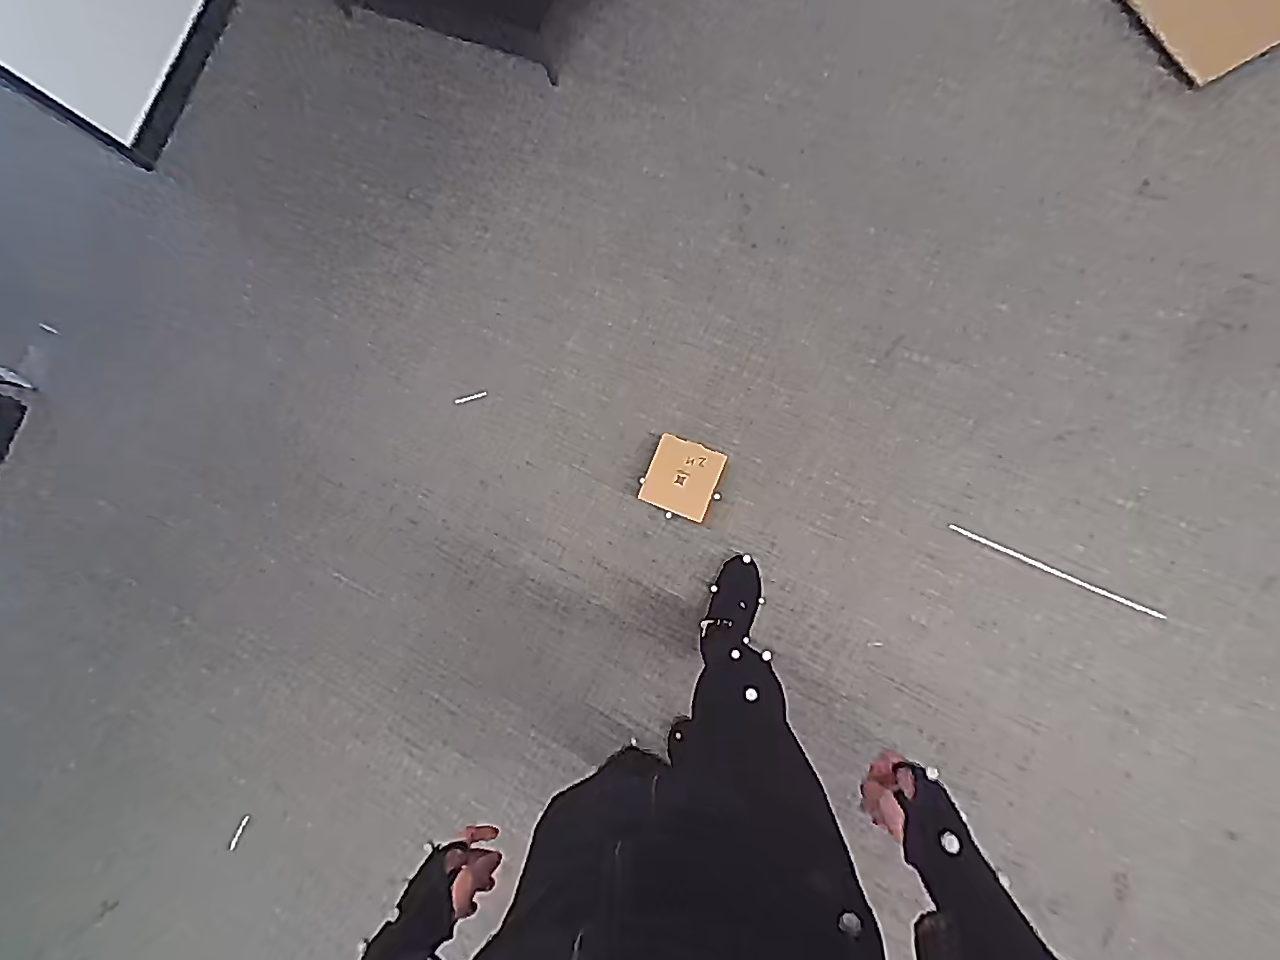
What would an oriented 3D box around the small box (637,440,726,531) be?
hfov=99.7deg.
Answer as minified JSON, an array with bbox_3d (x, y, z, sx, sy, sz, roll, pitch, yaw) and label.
[{"bbox_3d":[0.111,0.021,1.360,0.168,0.176,0.179,22,87,11],"label":"small box"}]
